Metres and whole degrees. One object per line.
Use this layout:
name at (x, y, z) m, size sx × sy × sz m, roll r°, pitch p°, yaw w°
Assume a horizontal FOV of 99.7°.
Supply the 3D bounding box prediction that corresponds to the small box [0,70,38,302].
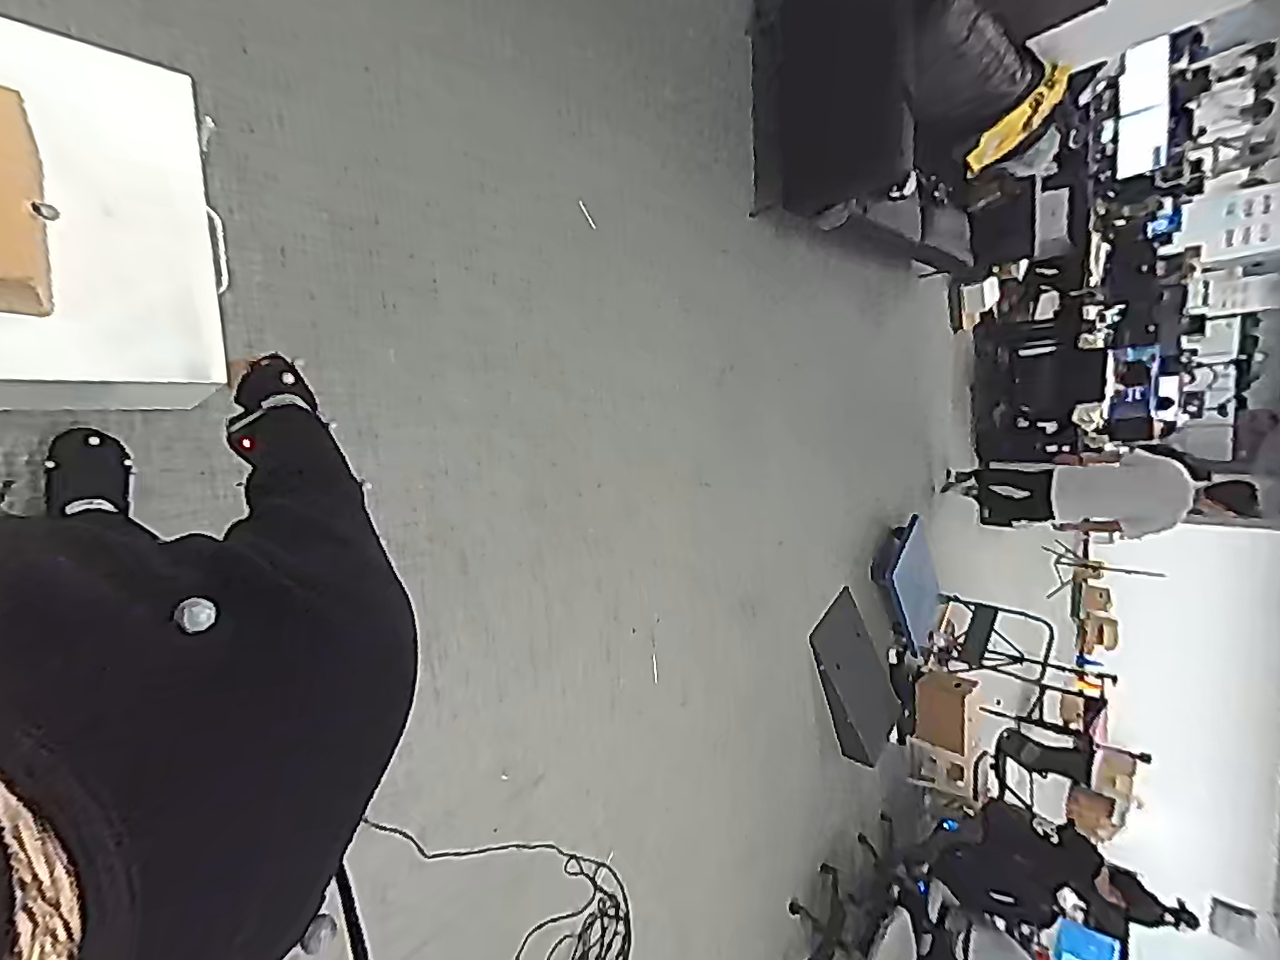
small box at (-0.676, -0.277, 0.488) m, size 0.168 × 0.176 × 0.179 m, roll -4°, pitch 95°, yaw -44°
